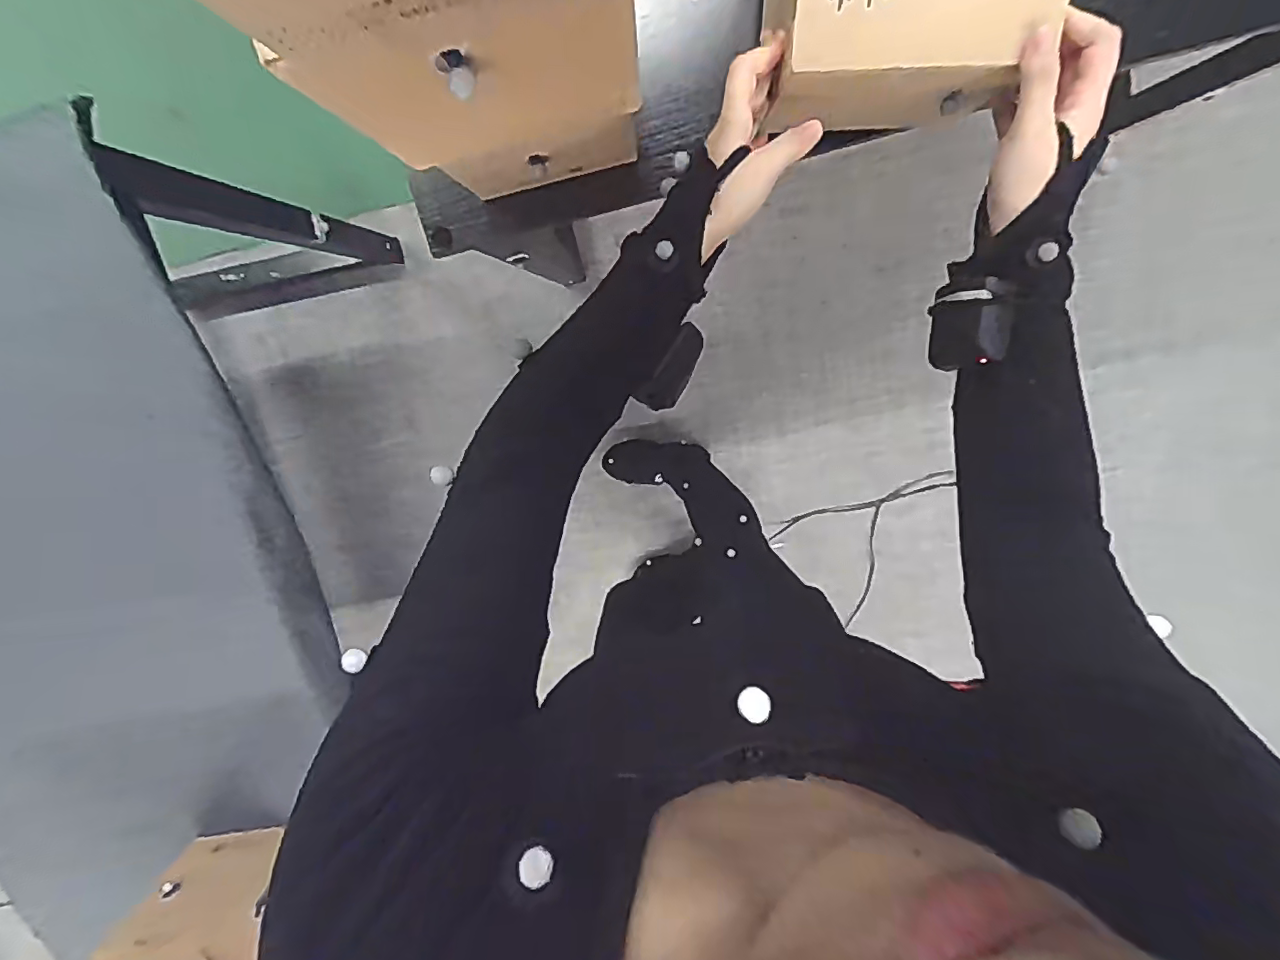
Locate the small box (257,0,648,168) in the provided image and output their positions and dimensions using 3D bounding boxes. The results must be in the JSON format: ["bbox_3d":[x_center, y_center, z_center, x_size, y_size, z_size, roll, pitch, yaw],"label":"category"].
[{"bbox_3d":[-0.096,-0.298,0.295,0.179,0.176,0.168,-12,105,6],"label":"small box"}]

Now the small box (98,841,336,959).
[{"bbox_3d":[-0.567,0.635,0.748,0.168,0.176,0.179,-11,105,8],"label":"small box"}]

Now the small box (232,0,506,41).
[{"bbox_3d":[-0.093,-0.255,0.137,0.168,0.176,0.179,-10,106,6],"label":"small box"}]

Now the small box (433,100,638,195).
[{"bbox_3d":[-0.099,-0.356,0.448,0.168,0.176,0.179,-12,104,5],"label":"small box"}]
